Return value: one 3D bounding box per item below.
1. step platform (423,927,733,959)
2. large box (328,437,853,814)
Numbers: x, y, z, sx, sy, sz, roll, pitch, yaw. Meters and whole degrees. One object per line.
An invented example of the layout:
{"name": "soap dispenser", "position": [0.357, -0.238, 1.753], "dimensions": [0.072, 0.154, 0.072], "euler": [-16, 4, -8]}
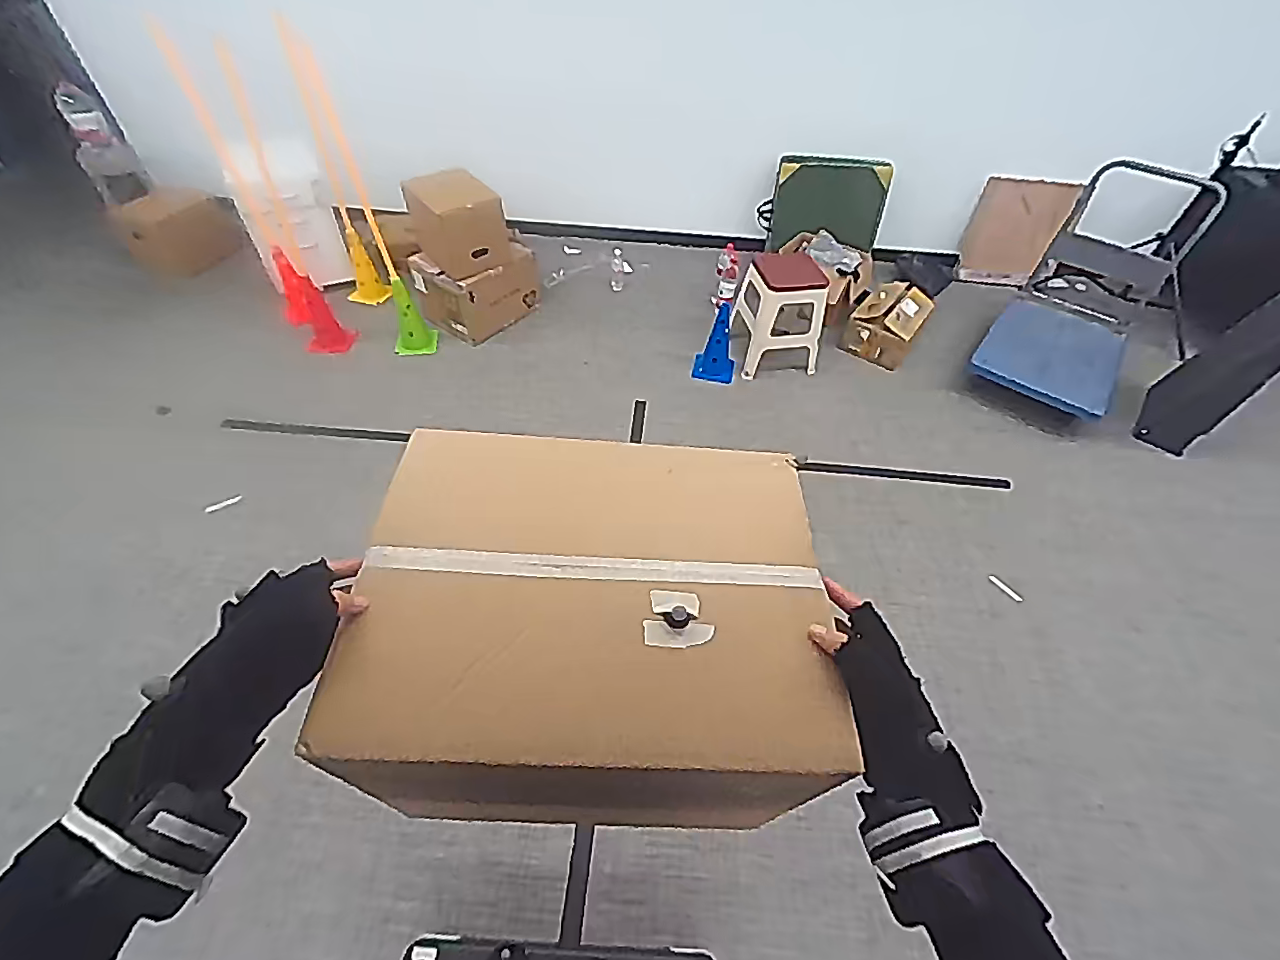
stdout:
{"name": "step platform", "position": [-0.131, 1.118, 1.111], "dimensions": [0.684, 0.204, 0.286], "euler": [4, 49, -2]}
{"name": "large box", "position": [-0.046, 0.176, 0.610], "dimensions": [0.408, 0.320, 0.320], "euler": [4, 52, -4]}
